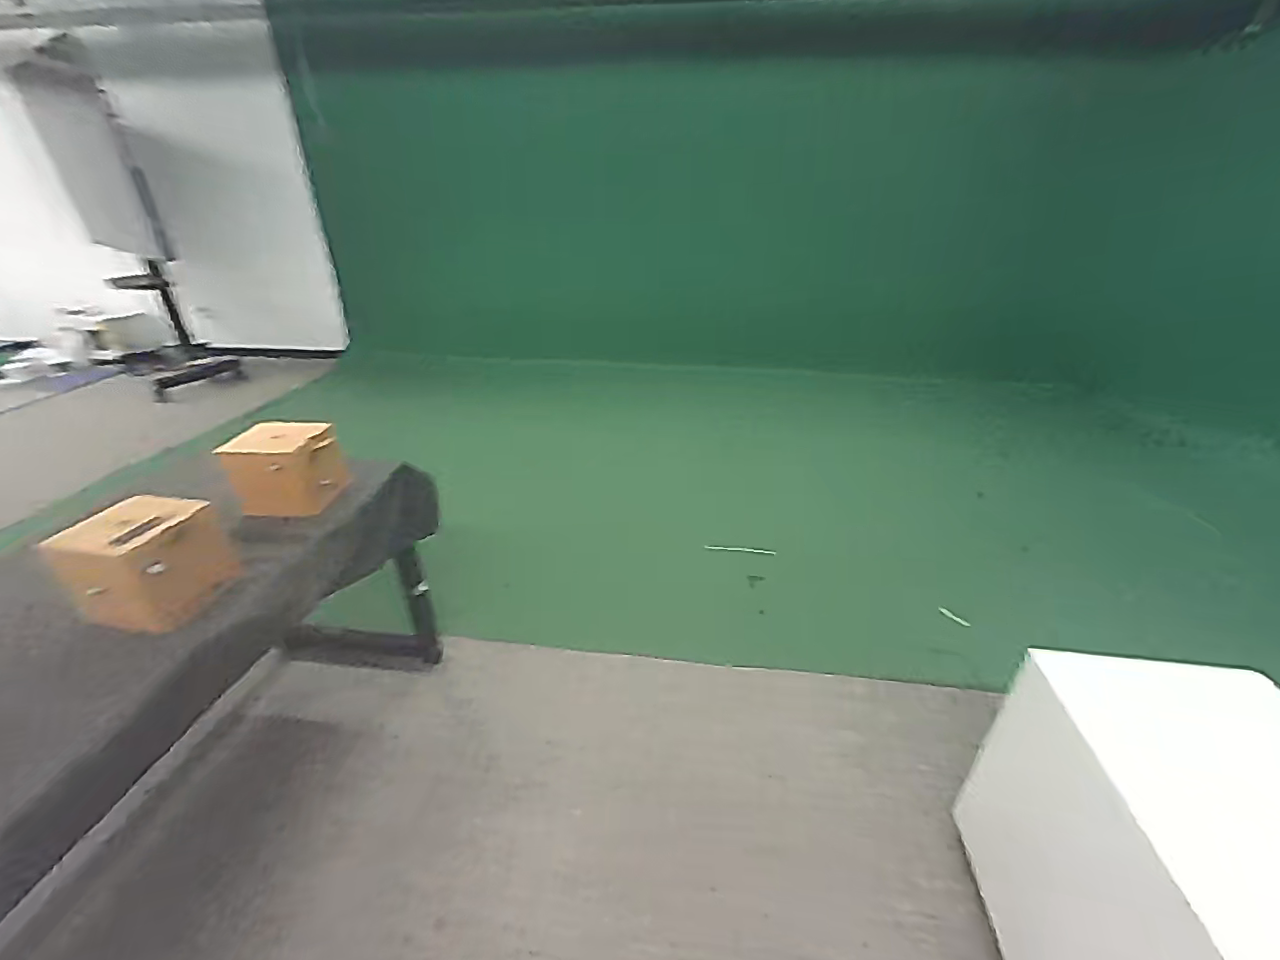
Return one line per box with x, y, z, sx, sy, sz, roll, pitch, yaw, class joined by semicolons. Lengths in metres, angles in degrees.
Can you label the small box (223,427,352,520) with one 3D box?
-0.825;-0.017;1.285;0.179;0.176;0.168;1;29;3;small box
